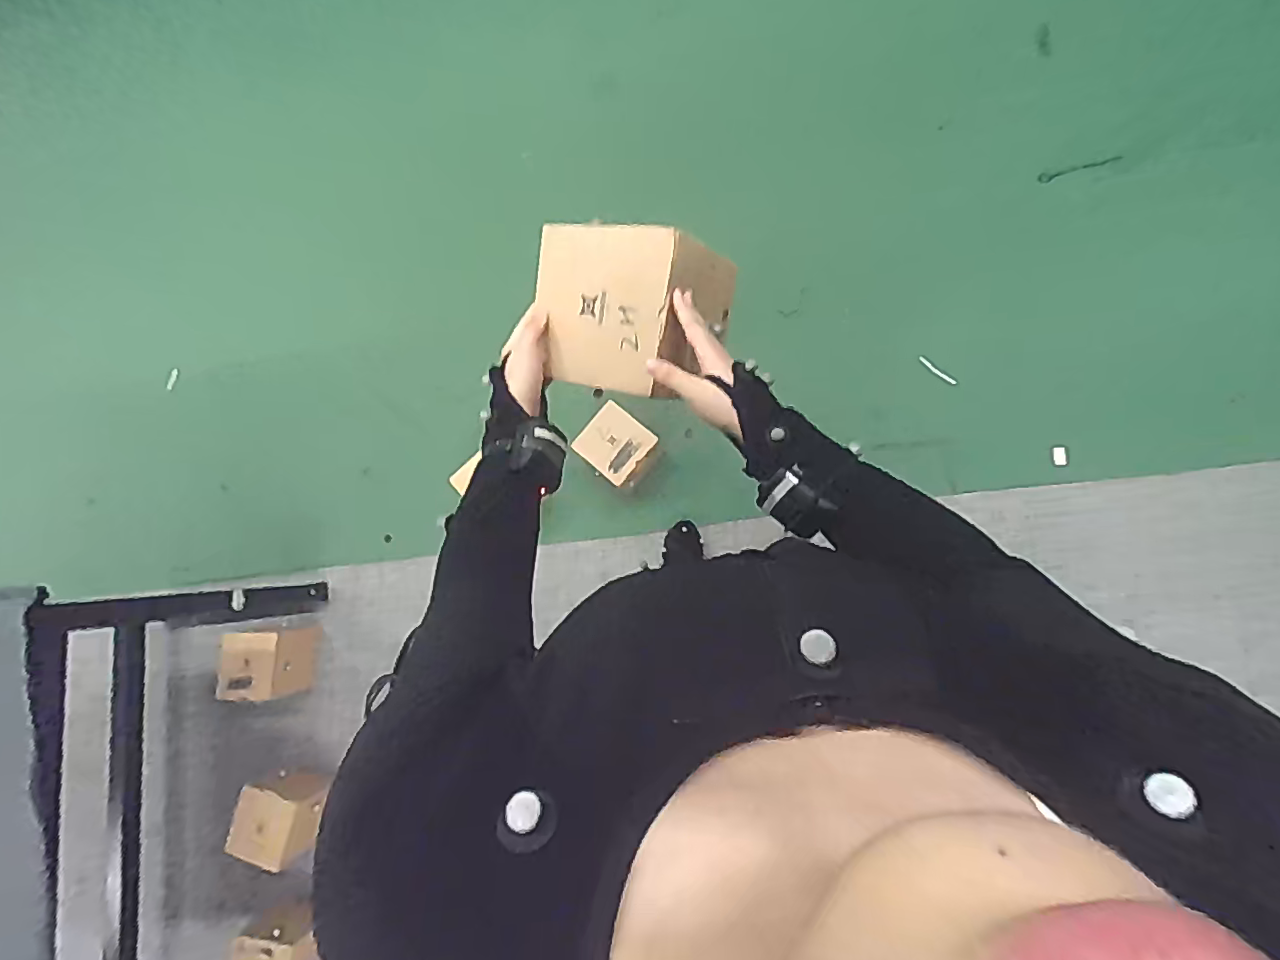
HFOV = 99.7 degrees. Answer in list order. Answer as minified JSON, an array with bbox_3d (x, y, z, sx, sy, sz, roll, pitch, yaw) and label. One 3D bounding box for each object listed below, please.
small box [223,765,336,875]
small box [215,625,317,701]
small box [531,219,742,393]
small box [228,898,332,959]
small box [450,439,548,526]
[{"bbox_3d":[-0.961,0.902,1.457,0.168,0.176,0.179,13,85,10],"label":"small box"},{"bbox_3d":[-1.043,0.509,1.521,0.168,0.176,0.179,-2,81,7],"label":"small box"},{"bbox_3d":[-0.001,-0.197,0.639,0.179,0.176,0.168,16,106,27],"label":"small box"},{"bbox_3d":[-0.936,1.245,1.406,0.168,0.176,0.179,5,84,8],"label":"small box"},{"bbox_3d":[-0.386,0.016,1.507,0.168,0.176,0.179,-43,80,0],"label":"small box"}]
